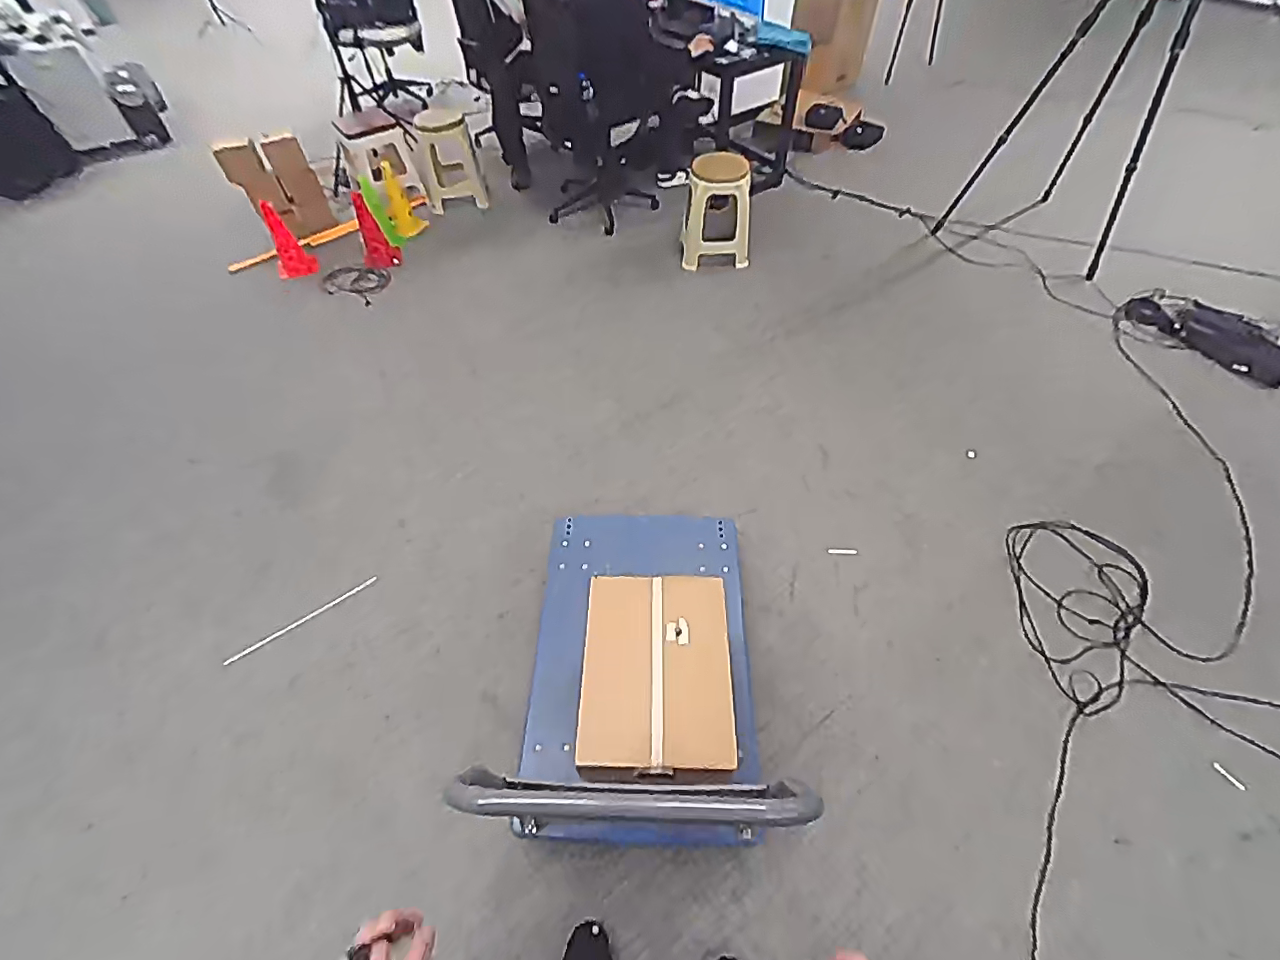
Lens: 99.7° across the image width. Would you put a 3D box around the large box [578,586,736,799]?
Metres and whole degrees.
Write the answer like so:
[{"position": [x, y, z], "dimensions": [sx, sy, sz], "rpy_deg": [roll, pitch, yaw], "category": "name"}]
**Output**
[{"position": [0.037, 0.502, 1.278], "dimensions": [0.320, 0.320, 0.408], "rpy_deg": [1, 51, 1], "category": "large box"}]
